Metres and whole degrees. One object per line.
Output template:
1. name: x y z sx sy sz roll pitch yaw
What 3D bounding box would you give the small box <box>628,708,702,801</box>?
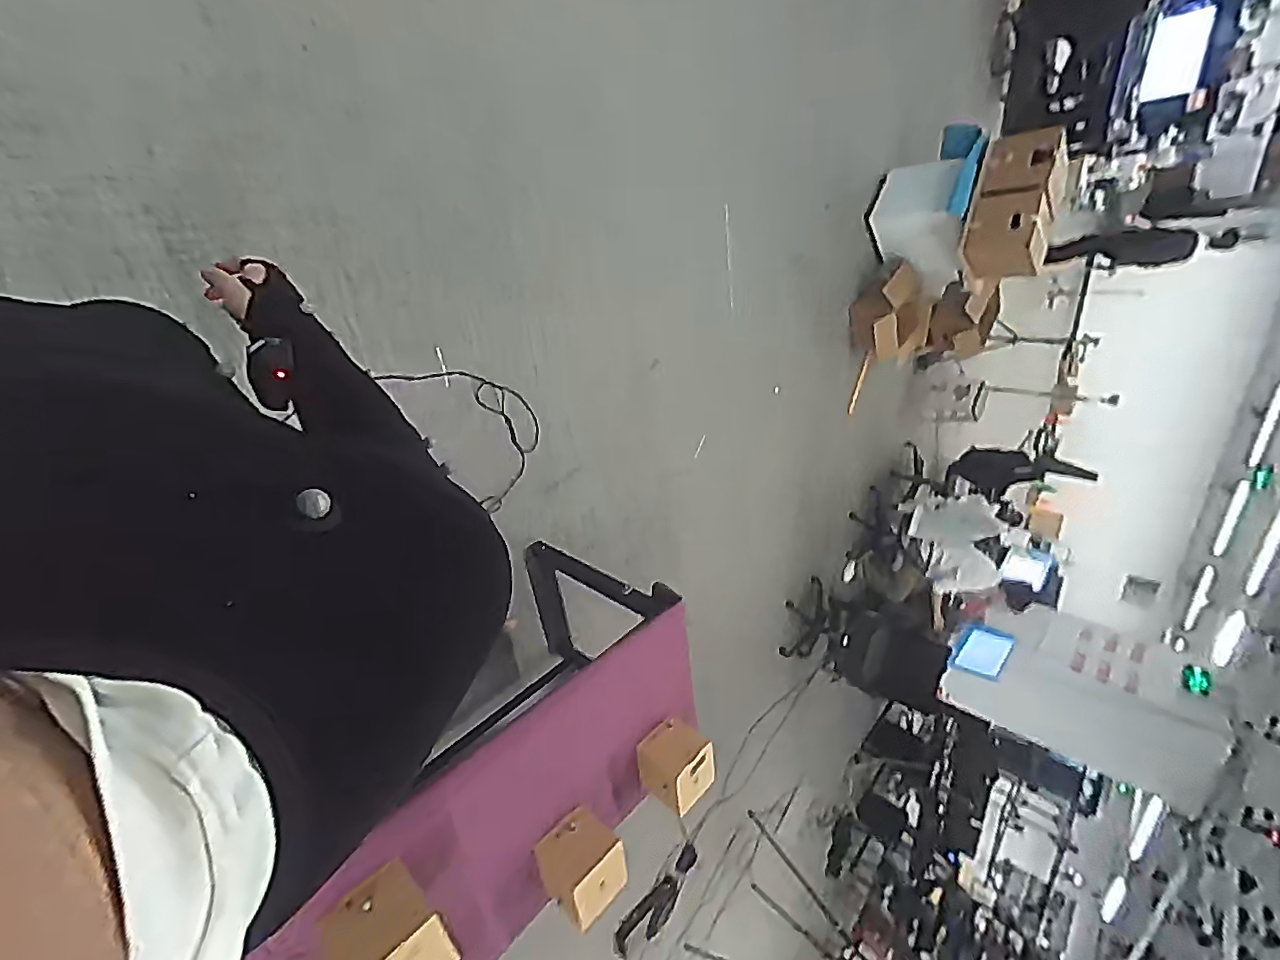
1. small box: 0.076 0.852 1.705 0.168 0.176 0.179 -28 123 -38

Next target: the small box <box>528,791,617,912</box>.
1. small box: -0.184 1.004 1.478 0.168 0.176 0.179 -27 122 -40

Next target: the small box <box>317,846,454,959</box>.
1. small box: -0.502 0.881 1.070 0.168 0.176 0.179 -31 126 -39
